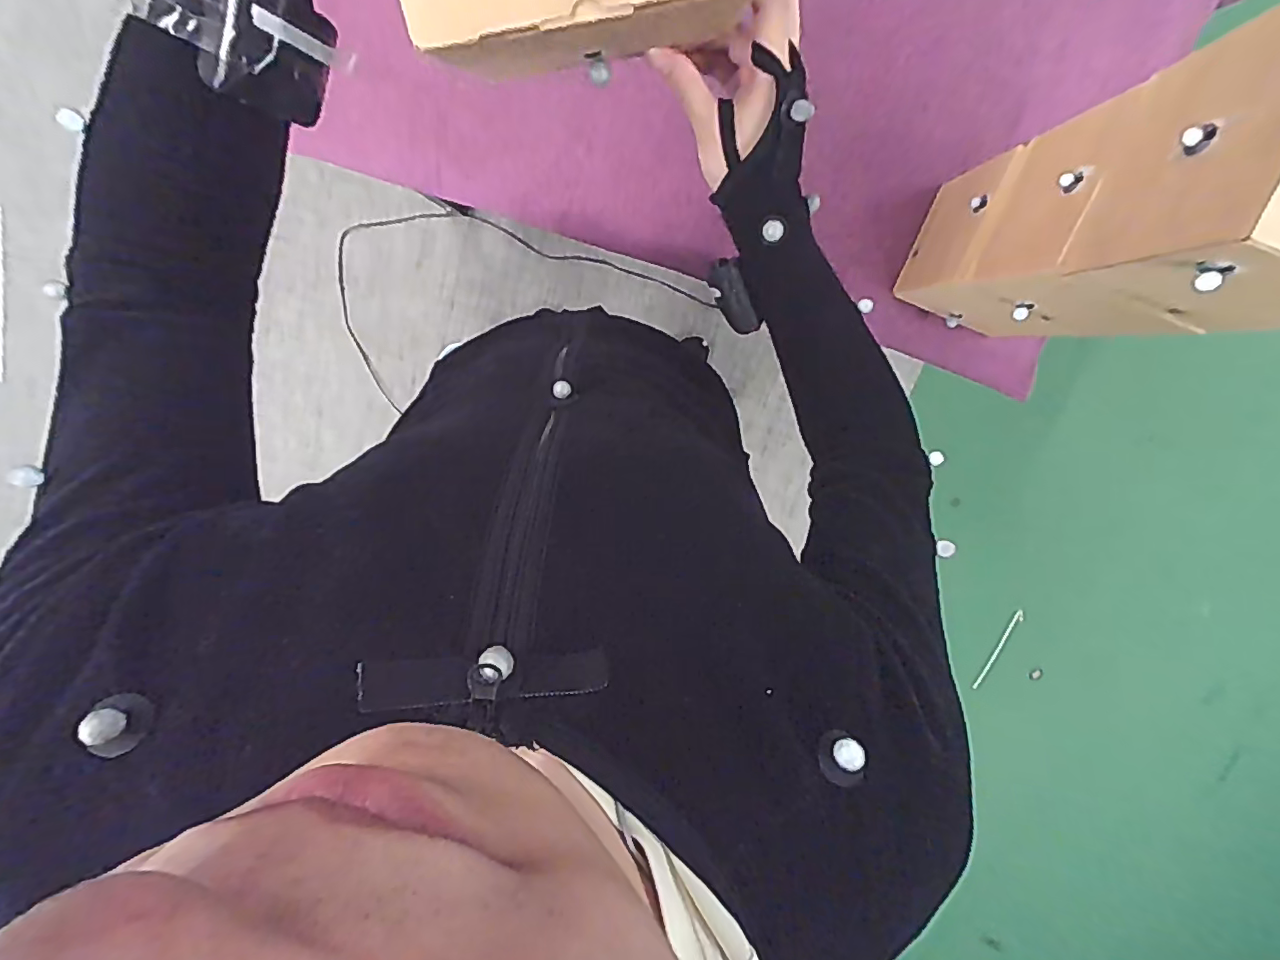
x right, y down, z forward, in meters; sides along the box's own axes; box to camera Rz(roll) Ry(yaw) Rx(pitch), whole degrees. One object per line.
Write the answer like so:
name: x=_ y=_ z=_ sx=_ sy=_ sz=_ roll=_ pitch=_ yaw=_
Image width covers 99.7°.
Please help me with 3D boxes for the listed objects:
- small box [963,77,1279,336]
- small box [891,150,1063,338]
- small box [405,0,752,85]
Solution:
small box: x=0.491 y=-0.265 z=0.574 sx=0.168 sy=0.176 sz=0.179 roll=21 pitch=103 yaw=-4
small box: x=0.485 y=-0.304 z=0.733 sx=0.179 sy=0.176 sz=0.168 roll=20 pitch=103 yaw=-6
small box: x=-0.038 y=-0.328 z=0.276 sx=0.168 sy=0.176 sz=0.179 roll=-8 pitch=121 yaw=3
